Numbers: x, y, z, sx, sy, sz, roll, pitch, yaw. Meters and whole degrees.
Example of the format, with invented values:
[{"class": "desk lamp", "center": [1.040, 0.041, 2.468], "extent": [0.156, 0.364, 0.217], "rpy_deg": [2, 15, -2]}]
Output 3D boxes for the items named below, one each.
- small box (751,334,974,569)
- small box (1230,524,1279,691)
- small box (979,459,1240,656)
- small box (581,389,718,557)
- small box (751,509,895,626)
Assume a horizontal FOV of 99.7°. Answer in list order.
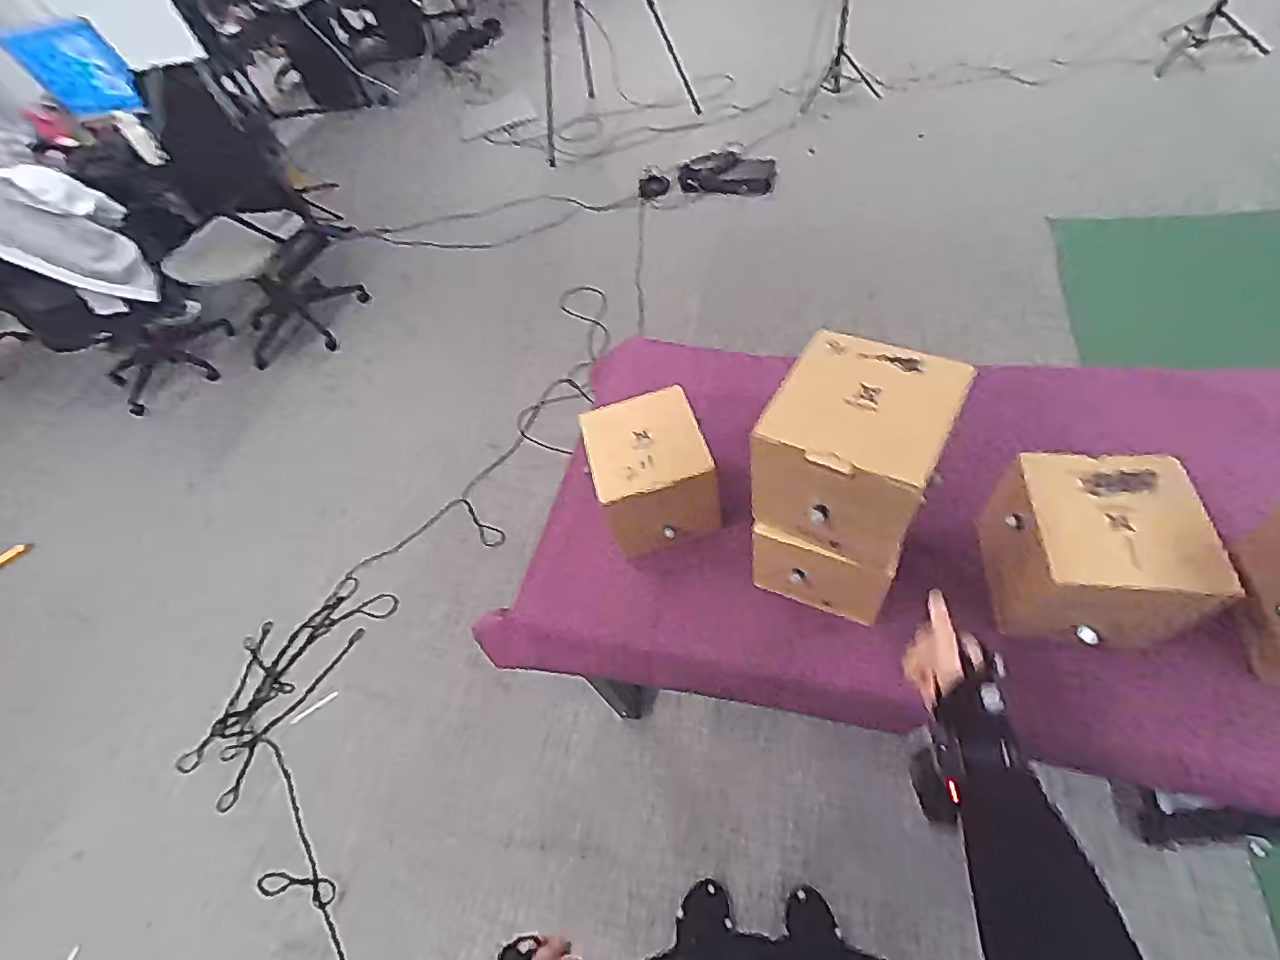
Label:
[{"class": "small box", "center": [0.240, -0.029, 0.611], "extent": [0.168, 0.176, 0.179], "rpy_deg": [24, 63, 26]}, {"class": "small box", "center": [0.795, 0.140, 0.574], "extent": [0.179, 0.176, 0.168], "rpy_deg": [7, 56, 17]}, {"class": "small box", "center": [0.541, 0.095, 0.661], "extent": [0.168, 0.176, 0.179], "rpy_deg": [2, 55, 14]}, {"class": "small box", "center": [0.017, -0.008, 0.843], "extent": [0.168, 0.176, 0.179], "rpy_deg": [-16, 53, 0]}, {"class": "small box", "center": [0.262, 0.073, 0.738], "extent": [0.168, 0.176, 0.179], "rpy_deg": [17, 59, 23]}]
